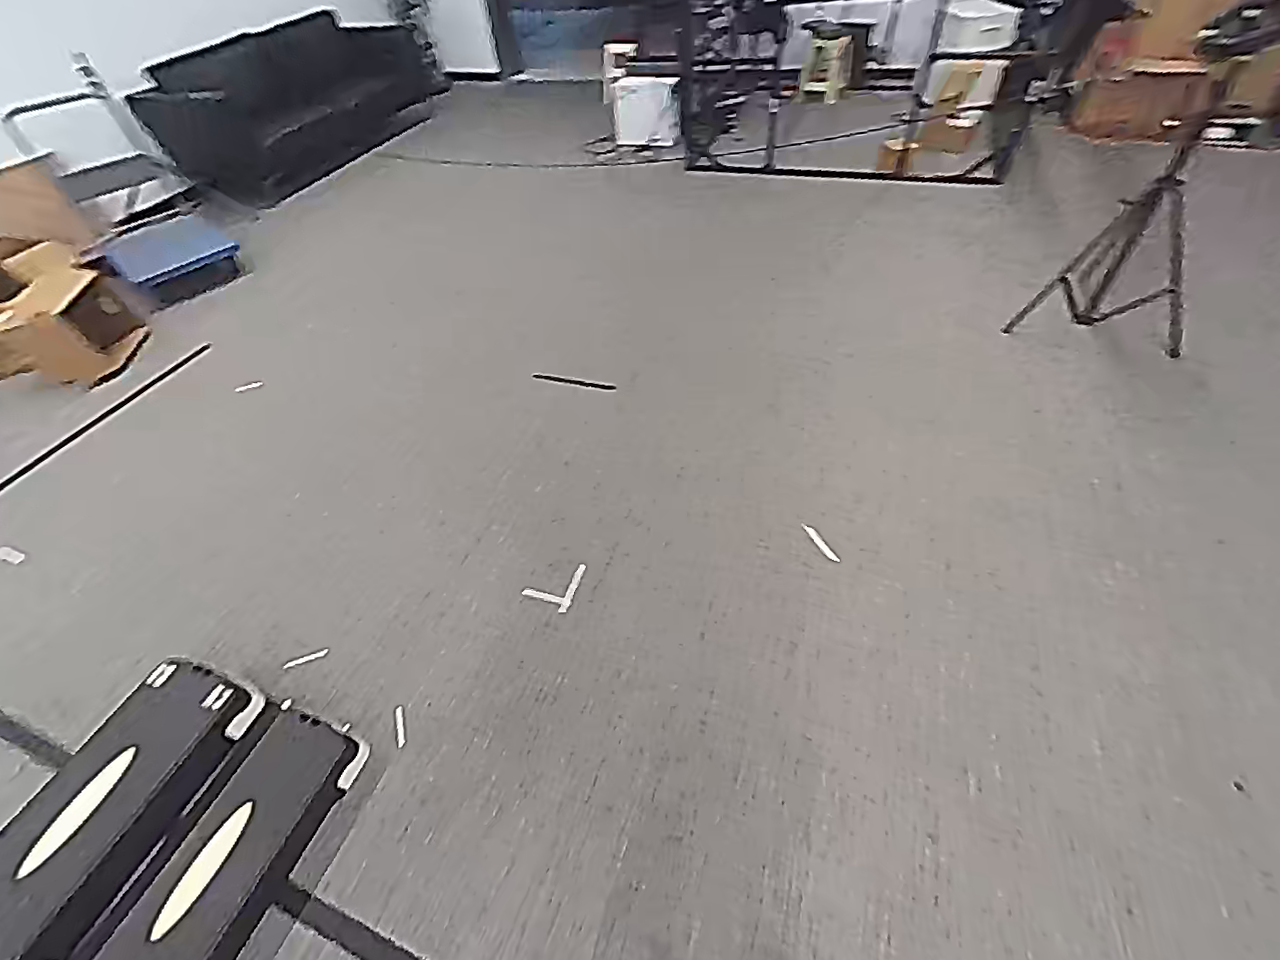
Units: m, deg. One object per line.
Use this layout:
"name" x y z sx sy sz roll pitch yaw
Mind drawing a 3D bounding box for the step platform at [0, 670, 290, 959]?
"step platform" -1.184 0.798 1.239 0.286 0.204 0.684 12 50 16
